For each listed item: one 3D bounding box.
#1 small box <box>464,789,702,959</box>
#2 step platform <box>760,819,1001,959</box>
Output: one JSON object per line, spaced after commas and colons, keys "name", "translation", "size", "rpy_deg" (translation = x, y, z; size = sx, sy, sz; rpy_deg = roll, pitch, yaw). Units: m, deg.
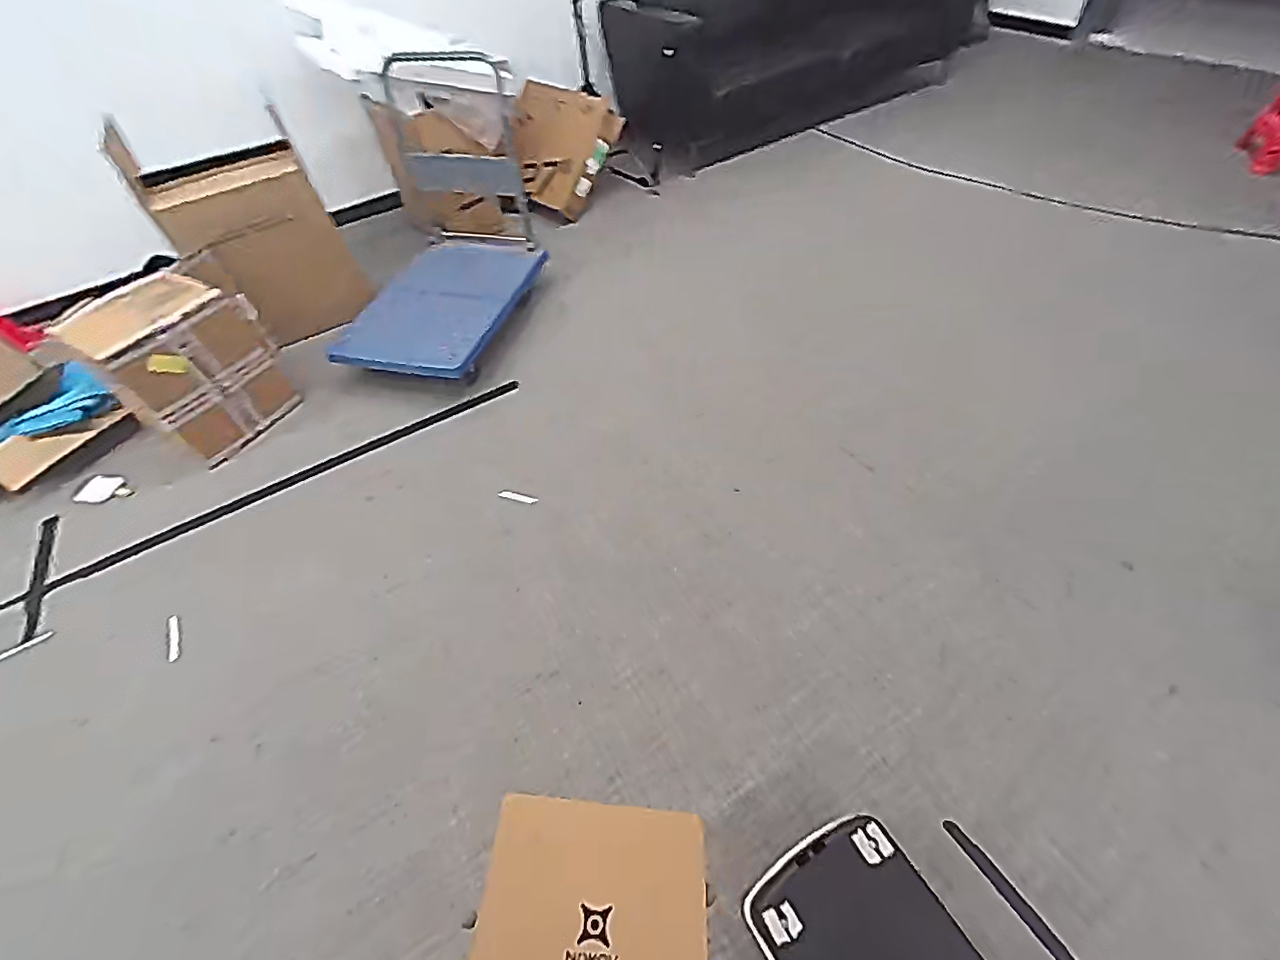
{"name": "small box", "translation": [-0.048, 0.379, 0.431], "size": [0.168, 0.176, 0.179], "rpy_deg": [8, 41, -2]}
{"name": "step platform", "translation": [0.492, 0.908, 0.809], "size": [0.286, 0.204, 0.684], "rpy_deg": [-27, 52, -16]}
